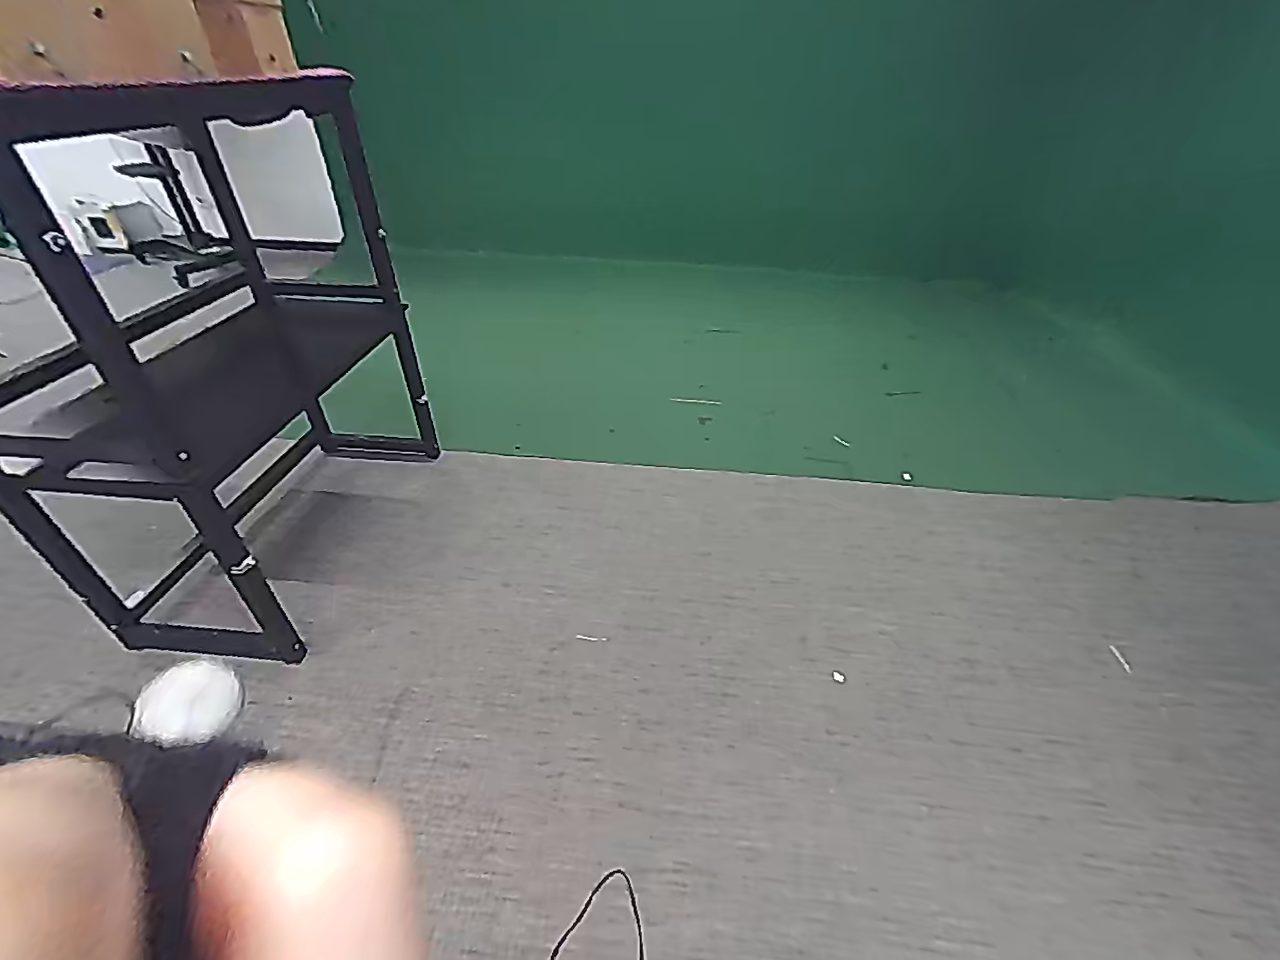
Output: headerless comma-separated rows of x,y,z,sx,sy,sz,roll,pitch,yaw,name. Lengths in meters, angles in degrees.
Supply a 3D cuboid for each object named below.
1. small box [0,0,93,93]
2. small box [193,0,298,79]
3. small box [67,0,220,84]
-1.124,-0.764,0.920,0.179,0.176,0.168,3,39,4,small box
-1.088,-1.207,1.478,0.179,0.176,0.168,6,39,4,small box
-1.111,-0.996,1.213,0.179,0.176,0.168,5,39,3,small box
